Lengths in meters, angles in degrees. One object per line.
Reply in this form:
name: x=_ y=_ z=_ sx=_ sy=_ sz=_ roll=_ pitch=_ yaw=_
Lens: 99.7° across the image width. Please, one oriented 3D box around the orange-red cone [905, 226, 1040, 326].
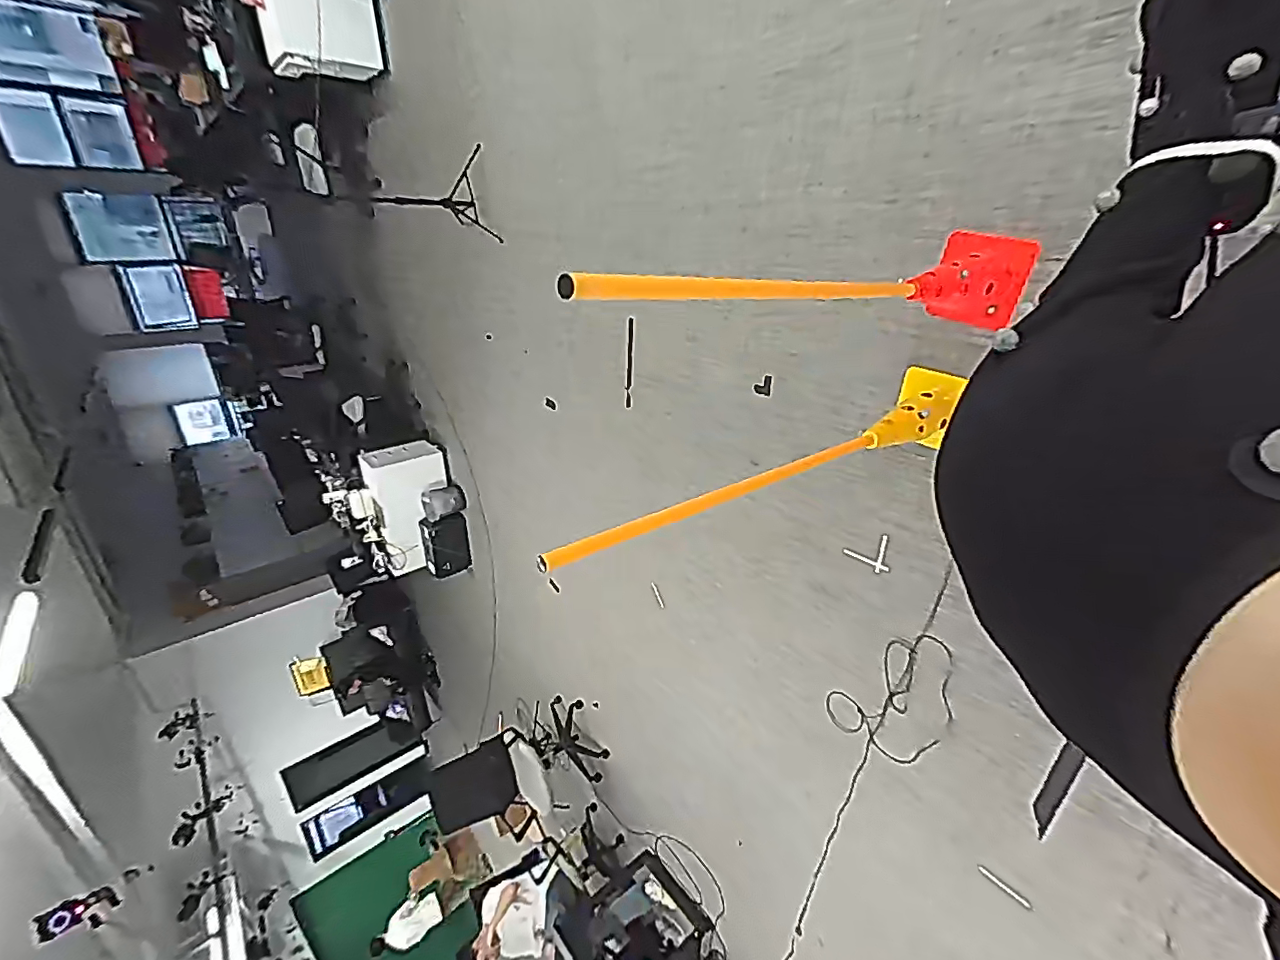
orange-red cone: x=0.675 y=-0.439 z=1.177 sx=0.198 sy=0.360 sz=0.199 roll=35 pitch=129 yaw=38
